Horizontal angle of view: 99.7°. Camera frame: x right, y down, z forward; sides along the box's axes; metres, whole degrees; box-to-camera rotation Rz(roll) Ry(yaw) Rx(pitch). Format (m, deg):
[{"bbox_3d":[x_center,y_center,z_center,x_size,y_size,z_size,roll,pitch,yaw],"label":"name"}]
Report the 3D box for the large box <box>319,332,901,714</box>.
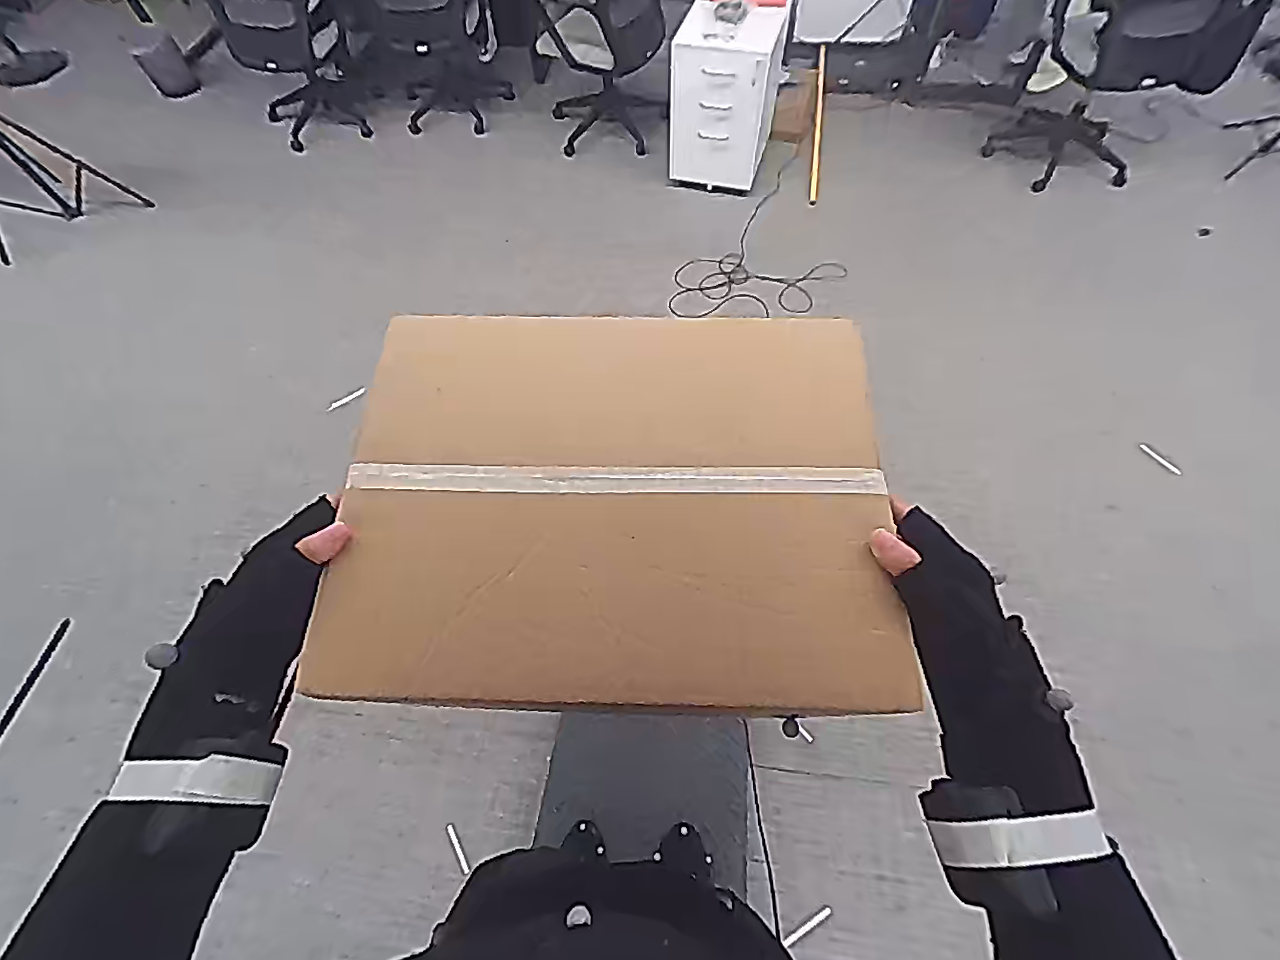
[{"bbox_3d":[-0.016,0.068,0.559,0.408,0.320,0.320,1,66,2],"label":"large box"}]
